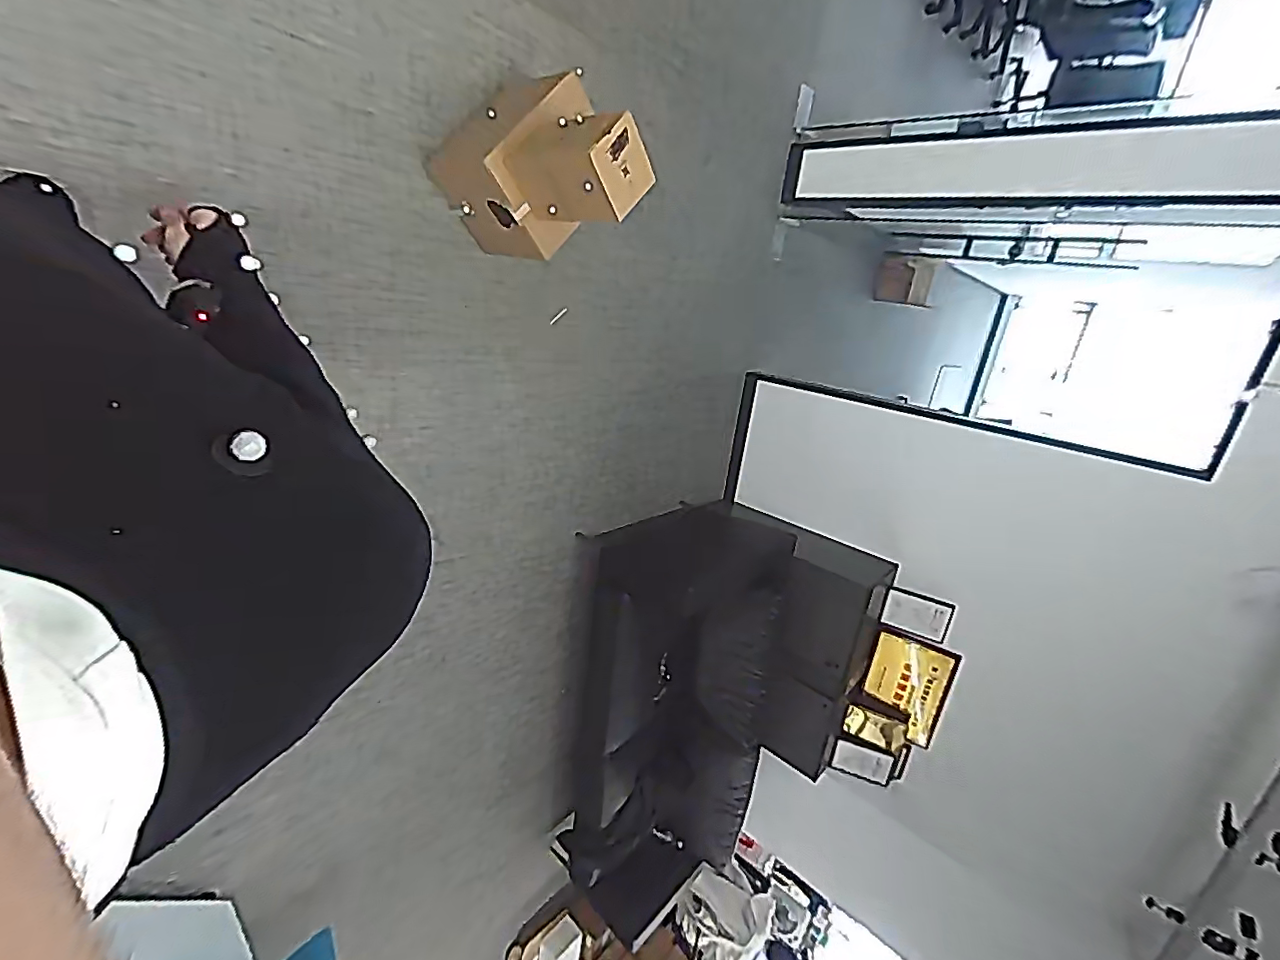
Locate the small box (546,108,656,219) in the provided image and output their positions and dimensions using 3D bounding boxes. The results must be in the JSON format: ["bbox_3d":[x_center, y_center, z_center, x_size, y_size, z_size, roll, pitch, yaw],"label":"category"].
[{"bbox_3d":[-0.096,-0.767,1.324,0.168,0.176,0.179,-55,142,-16],"label":"small box"}]

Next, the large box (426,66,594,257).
[{"bbox_3d":[-0.345,-0.931,1.617,0.408,0.320,0.320,-56,143,-16],"label":"large box"}]
